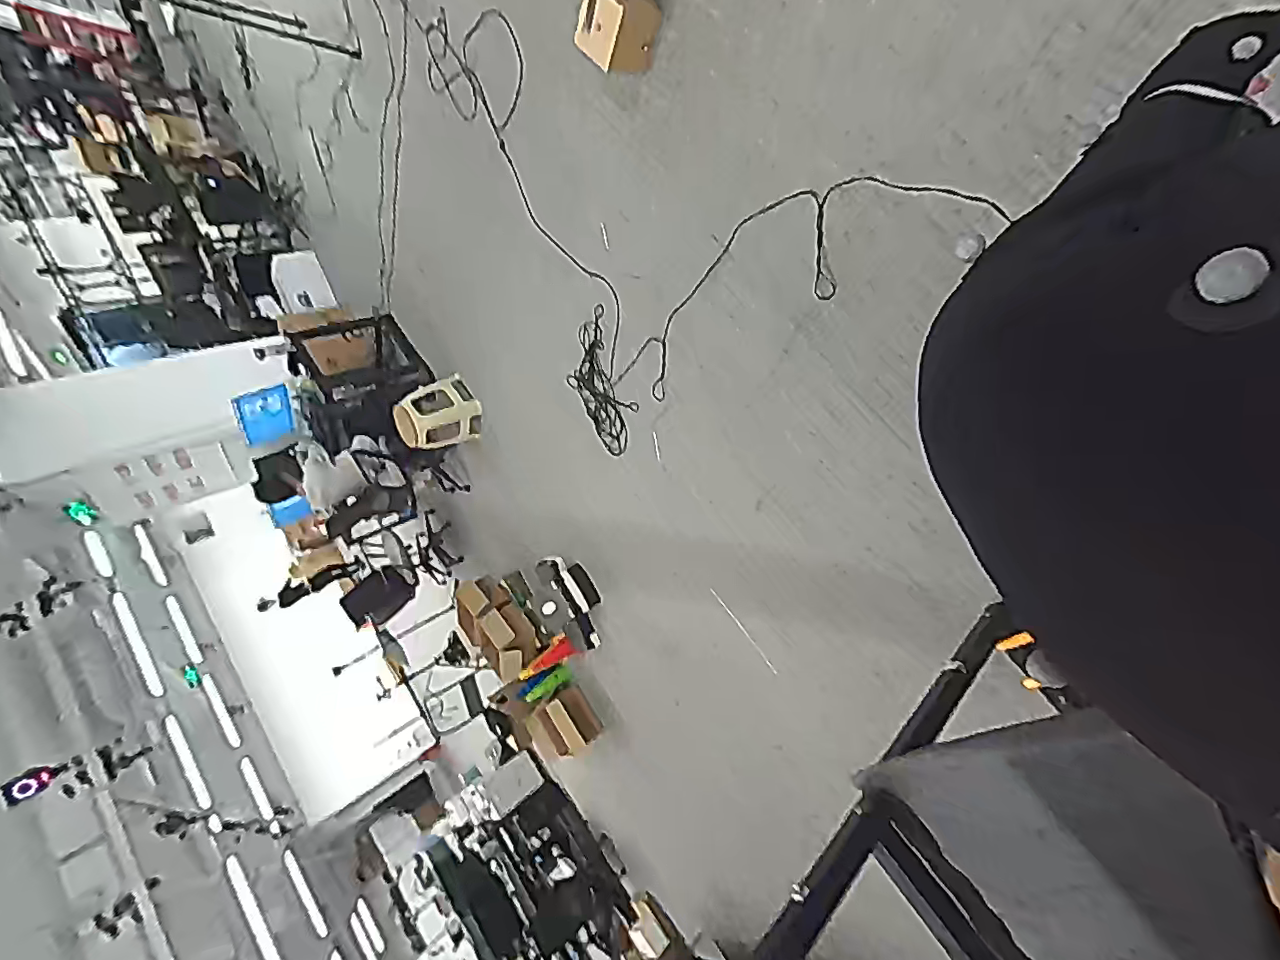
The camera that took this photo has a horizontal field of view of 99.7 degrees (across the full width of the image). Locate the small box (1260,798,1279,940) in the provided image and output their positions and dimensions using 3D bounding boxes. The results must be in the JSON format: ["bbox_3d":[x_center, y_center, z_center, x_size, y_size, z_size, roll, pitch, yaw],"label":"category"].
[{"bbox_3d":[0.764,0.430,0.510,0.179,0.176,0.168,50,142,16],"label":"small box"}]
